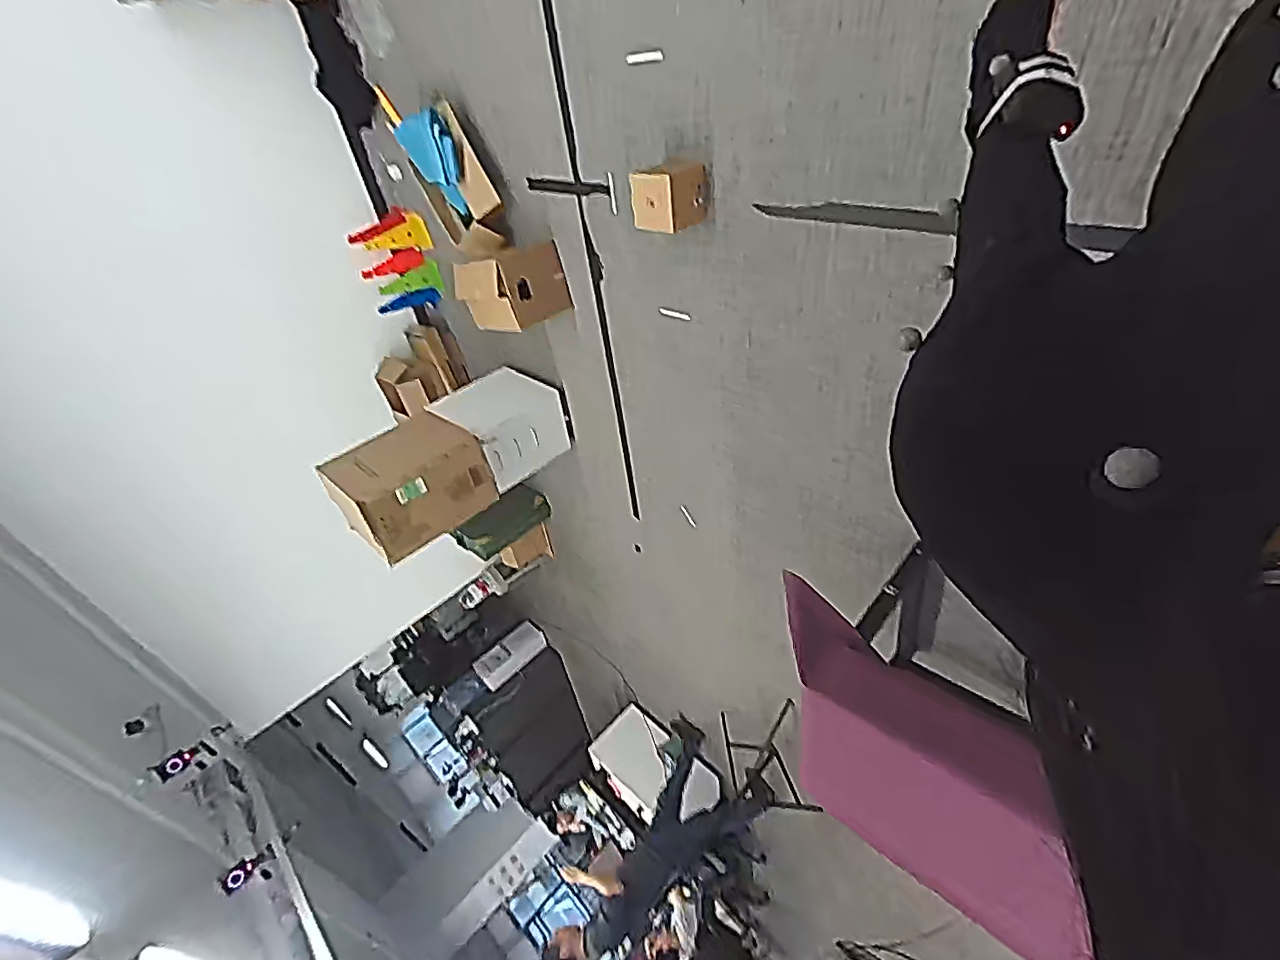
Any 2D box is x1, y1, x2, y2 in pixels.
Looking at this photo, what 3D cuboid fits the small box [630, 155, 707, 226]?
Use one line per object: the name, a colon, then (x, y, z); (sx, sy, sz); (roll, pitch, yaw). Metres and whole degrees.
small box: (0.094, -0.931, 1.733); (0.179, 0.176, 0.168); (26, 141, 36)
